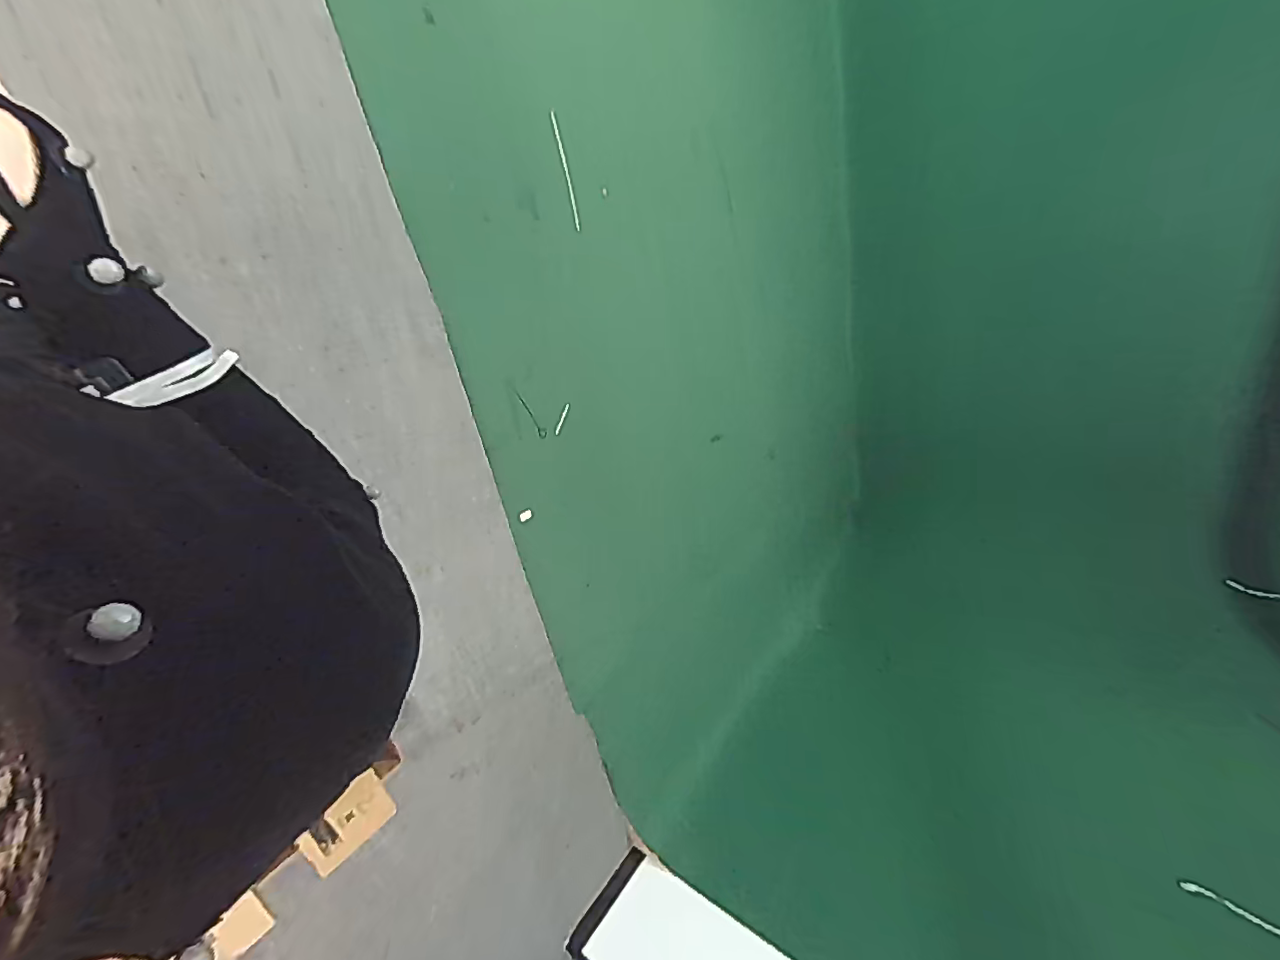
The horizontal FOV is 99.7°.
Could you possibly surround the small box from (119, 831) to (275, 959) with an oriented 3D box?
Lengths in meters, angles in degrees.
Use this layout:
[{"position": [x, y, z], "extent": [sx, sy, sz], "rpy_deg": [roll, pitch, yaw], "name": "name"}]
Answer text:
[{"position": [-0.858, 0.827, 1.047], "extent": [0.168, 0.176, 0.179], "rpy_deg": [-35, 121, -41], "name": "small box"}]
